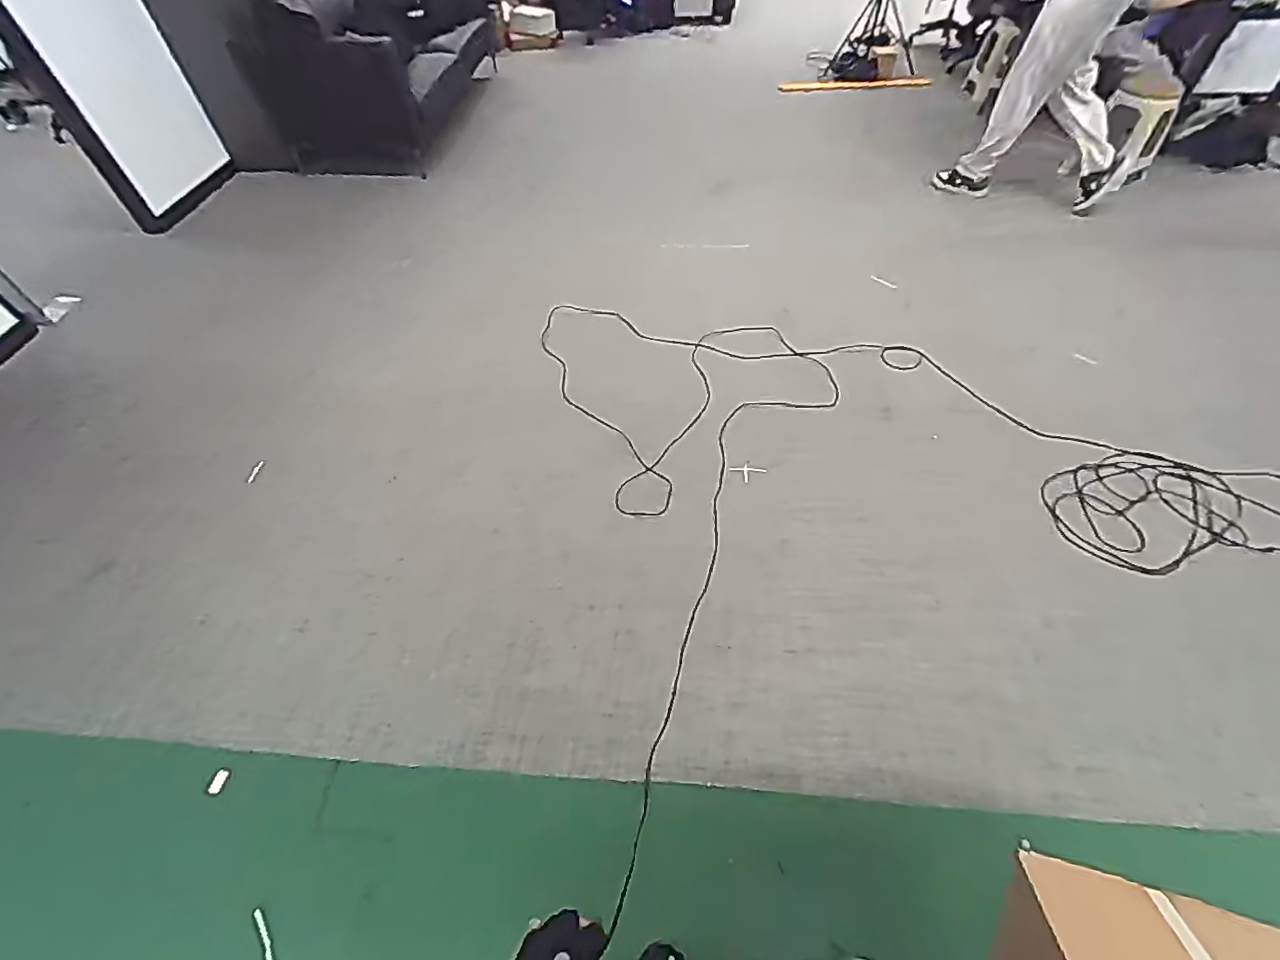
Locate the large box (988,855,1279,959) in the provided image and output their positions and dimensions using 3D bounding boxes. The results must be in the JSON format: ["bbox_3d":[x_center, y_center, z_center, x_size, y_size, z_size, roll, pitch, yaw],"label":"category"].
[{"bbox_3d":[0.603,0.732,0.573,0.320,0.320,0.408,10,8,17],"label":"large box"}]
